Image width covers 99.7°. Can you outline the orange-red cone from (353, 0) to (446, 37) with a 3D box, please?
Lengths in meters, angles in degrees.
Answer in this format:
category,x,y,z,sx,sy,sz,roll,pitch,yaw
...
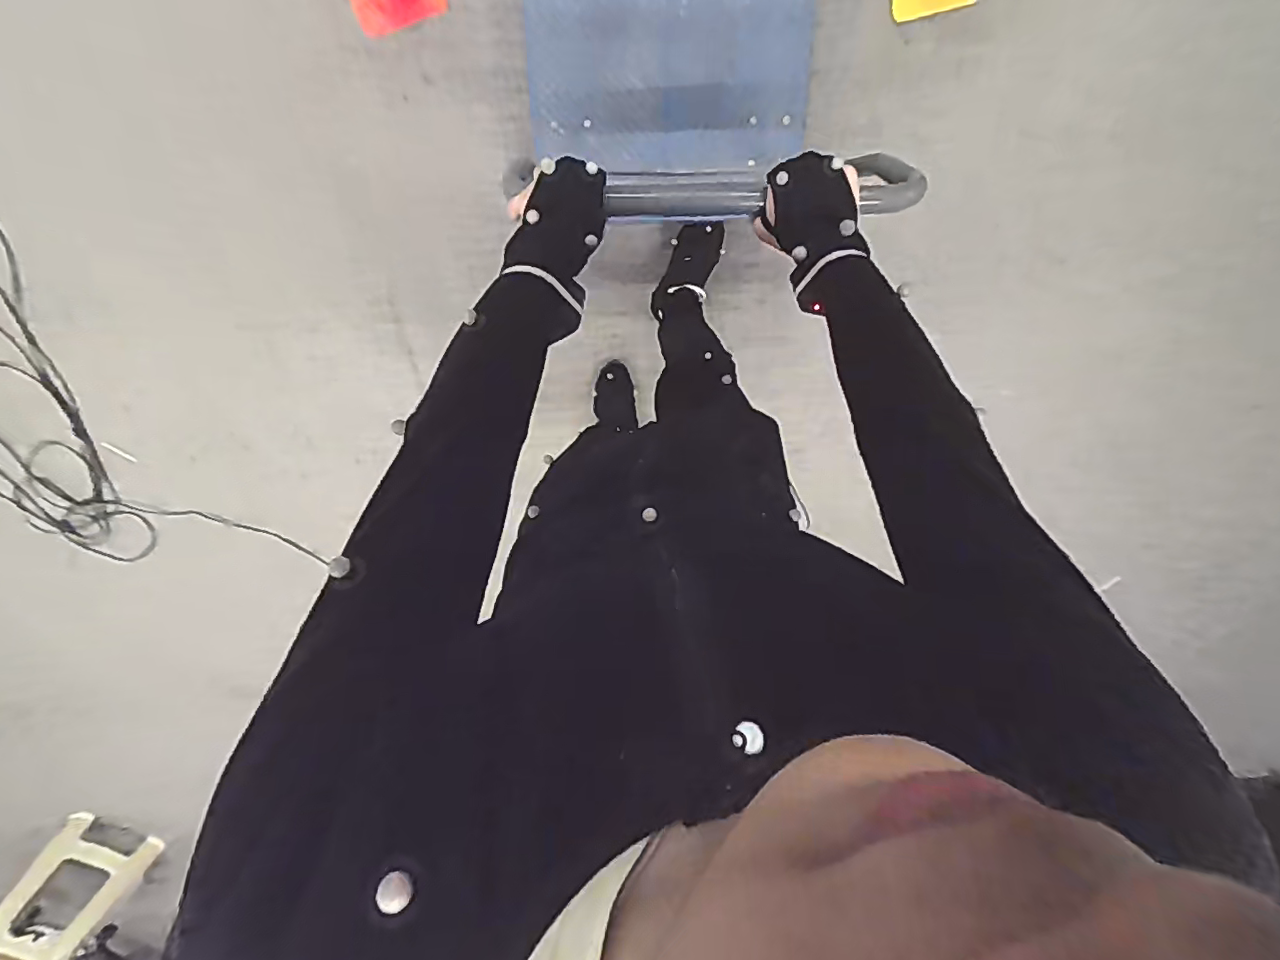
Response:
category,x,y,z,sx,sy,sz,roll,pitch,yaw
orange-red cone,-0.533,-1.019,0.998,0.199,0.360,0.198,-15,112,6
